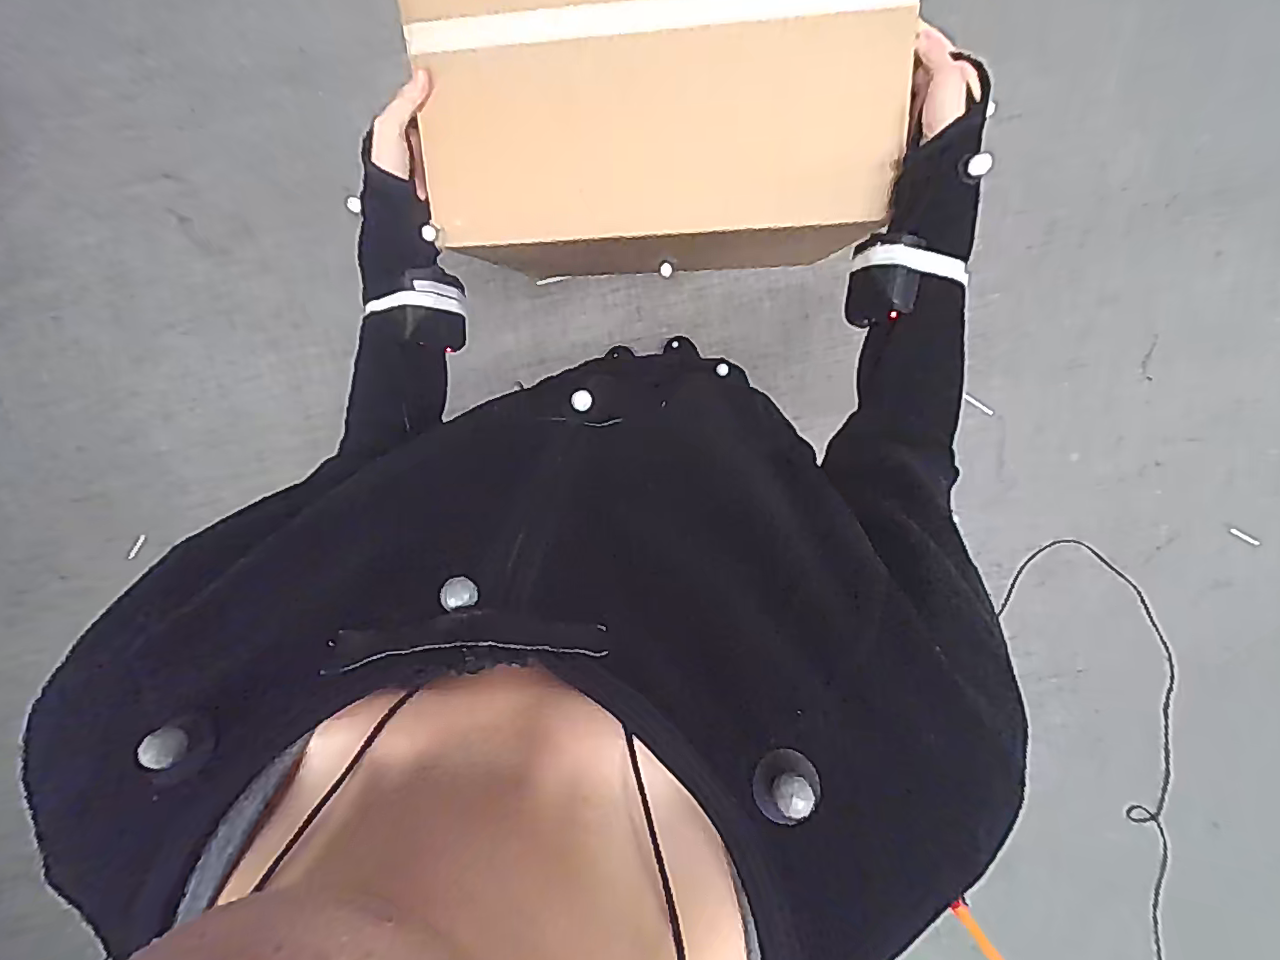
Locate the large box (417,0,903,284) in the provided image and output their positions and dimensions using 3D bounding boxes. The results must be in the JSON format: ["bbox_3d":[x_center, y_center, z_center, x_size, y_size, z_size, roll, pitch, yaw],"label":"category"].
[{"bbox_3d":[0.027,-0.400,0.588,0.408,0.320,0.320,-2,103,6],"label":"large box"}]
